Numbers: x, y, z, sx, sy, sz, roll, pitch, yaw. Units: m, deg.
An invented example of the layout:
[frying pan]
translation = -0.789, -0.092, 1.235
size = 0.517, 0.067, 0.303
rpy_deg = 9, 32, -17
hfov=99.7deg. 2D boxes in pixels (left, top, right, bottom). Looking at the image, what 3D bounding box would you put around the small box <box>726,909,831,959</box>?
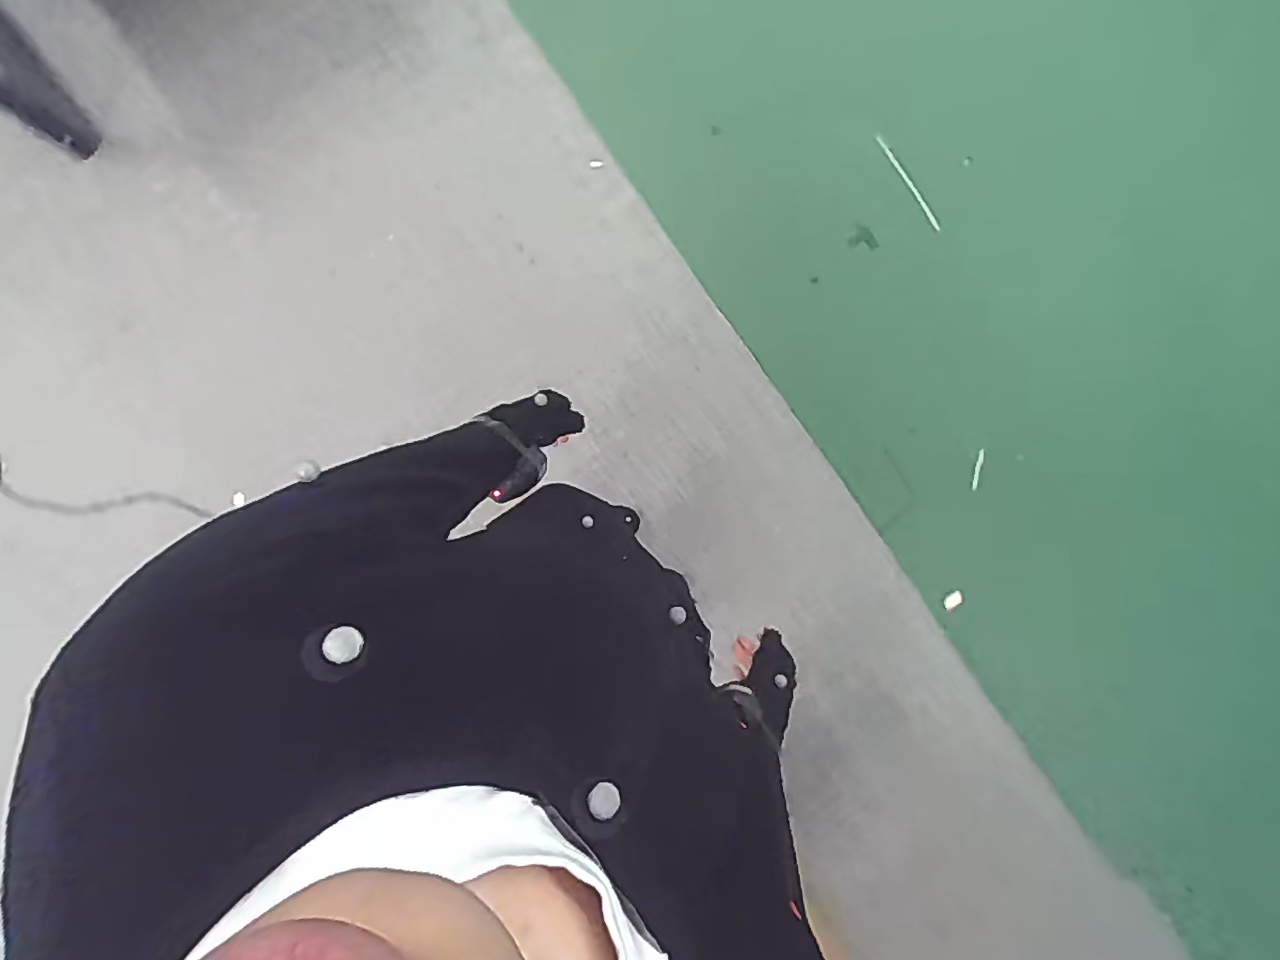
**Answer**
[small box]
translation = 0.216, 0.770, 0.753
size = 0.179, 0.176, 0.168
rpy_deg = -38, 89, -5
